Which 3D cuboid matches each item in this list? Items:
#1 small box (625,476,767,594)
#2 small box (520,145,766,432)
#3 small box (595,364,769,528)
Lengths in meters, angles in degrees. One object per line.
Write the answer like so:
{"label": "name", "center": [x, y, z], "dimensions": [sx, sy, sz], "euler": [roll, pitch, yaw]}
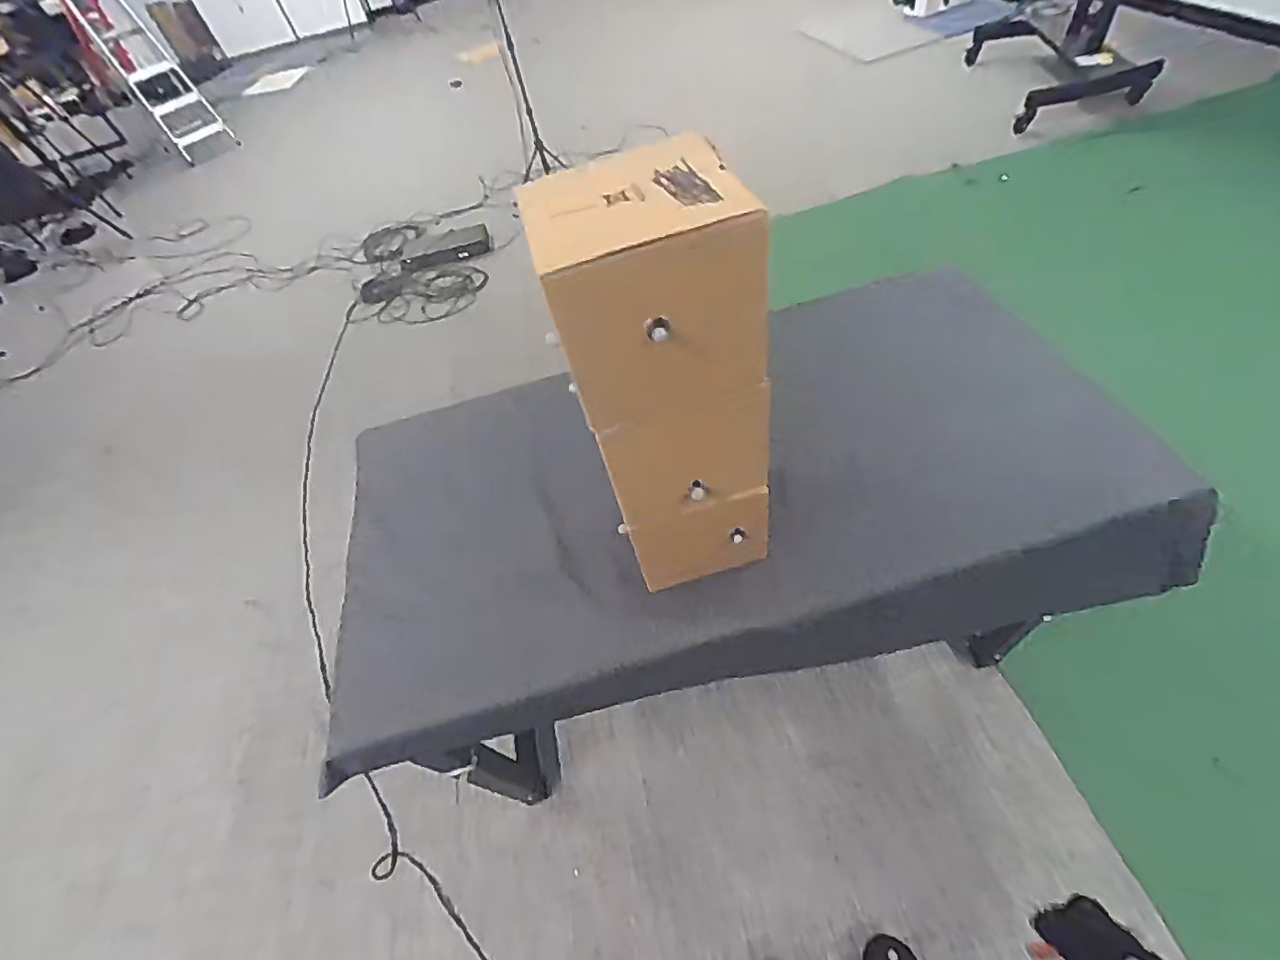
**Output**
{"label": "small box", "center": [0.064, 0.033, 0.754], "dimensions": [0.179, 0.176, 0.168], "euler": [-18, 50, -1]}
{"label": "small box", "center": [0.004, -0.173, 0.506], "dimensions": [0.179, 0.176, 0.168], "euler": [-17, 50, -1]}
{"label": "small box", "center": [0.035, -0.071, 0.631], "dimensions": [0.179, 0.176, 0.168], "euler": [-17, 50, -3]}
